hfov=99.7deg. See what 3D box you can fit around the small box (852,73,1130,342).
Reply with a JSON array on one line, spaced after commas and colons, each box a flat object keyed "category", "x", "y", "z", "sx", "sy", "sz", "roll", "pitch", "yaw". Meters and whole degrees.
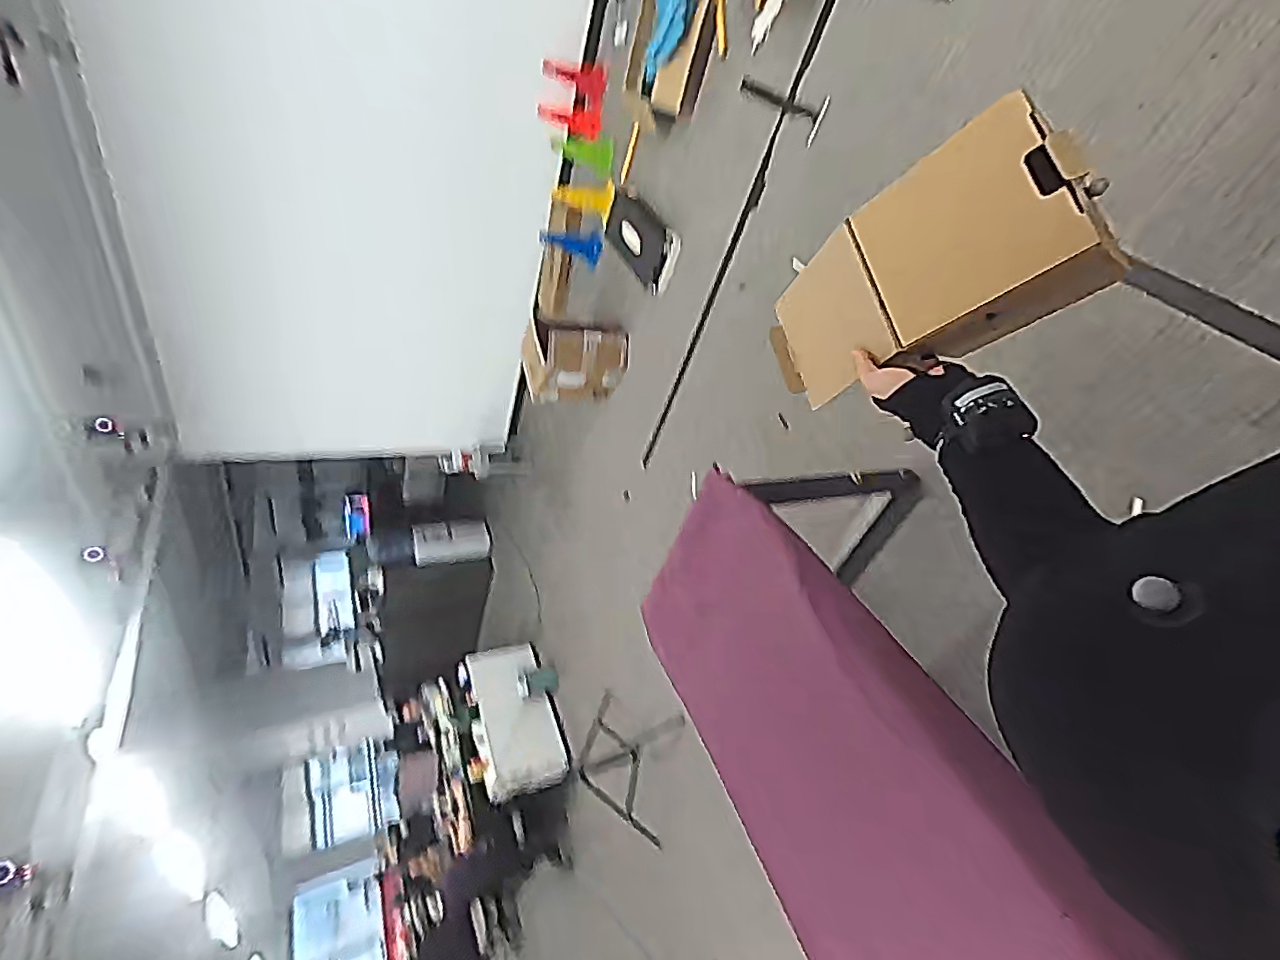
[{"category": "small box", "x": 0.365, "y": -0.260, "z": 0.570, "sx": 0.179, "sy": 0.176, "sz": 0.168, "roll": -27, "pitch": 75, "yaw": 48}]
